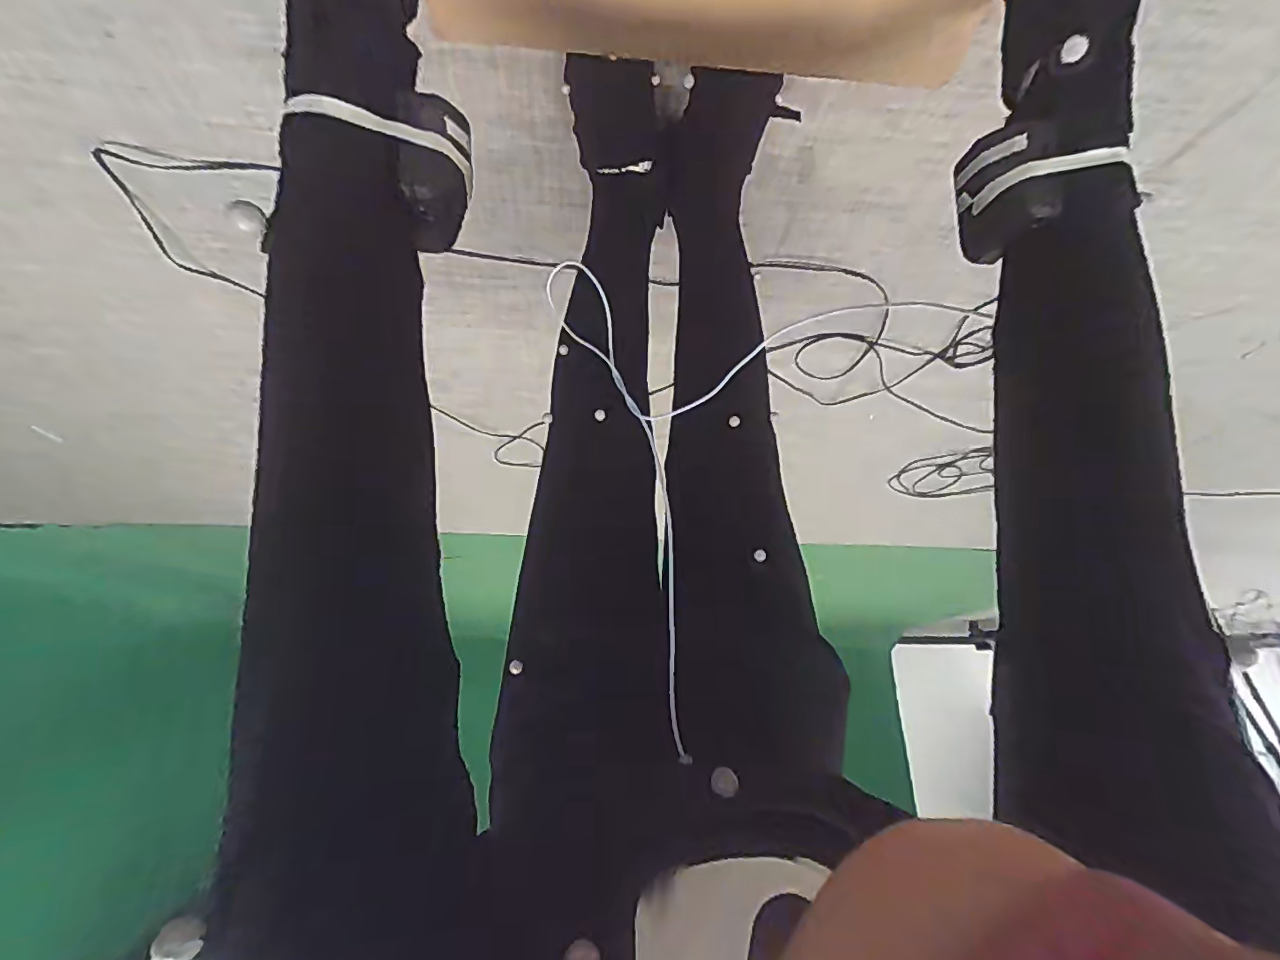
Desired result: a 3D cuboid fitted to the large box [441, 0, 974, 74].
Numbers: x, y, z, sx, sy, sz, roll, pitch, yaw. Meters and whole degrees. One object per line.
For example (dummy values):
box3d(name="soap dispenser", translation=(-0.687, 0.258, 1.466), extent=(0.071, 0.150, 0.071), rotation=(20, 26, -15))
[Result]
box3d(name="large box", translation=(0.057, -0.539, 0.359), extent=(0.408, 0.320, 0.320), rotation=(2, 156, -4))
